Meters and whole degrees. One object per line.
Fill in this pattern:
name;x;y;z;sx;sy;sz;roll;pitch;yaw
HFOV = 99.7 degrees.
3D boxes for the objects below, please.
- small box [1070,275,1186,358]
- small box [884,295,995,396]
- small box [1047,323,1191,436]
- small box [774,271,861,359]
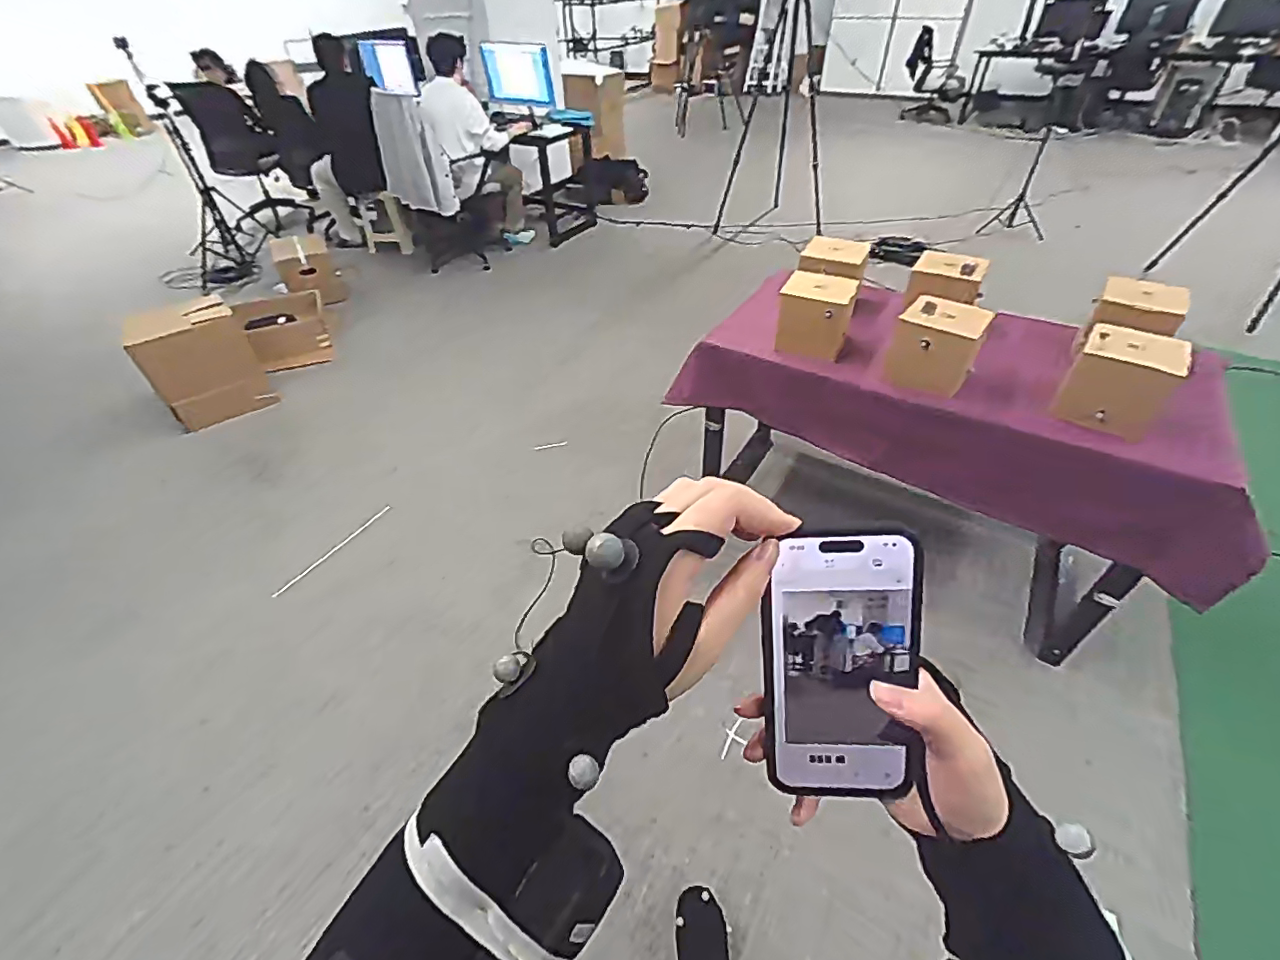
small box;1.247;-0.398;1.388;0.168;0.176;0.179;25;50;27
small box;0.734;-0.332;1.341;0.179;0.176;0.168;28;51;28
small box;1.062;-0.221;1.207;0.179;0.176;0.168;29;51;29
small box;0.480;-0.451;1.481;0.179;0.176;0.168;19;47;20
